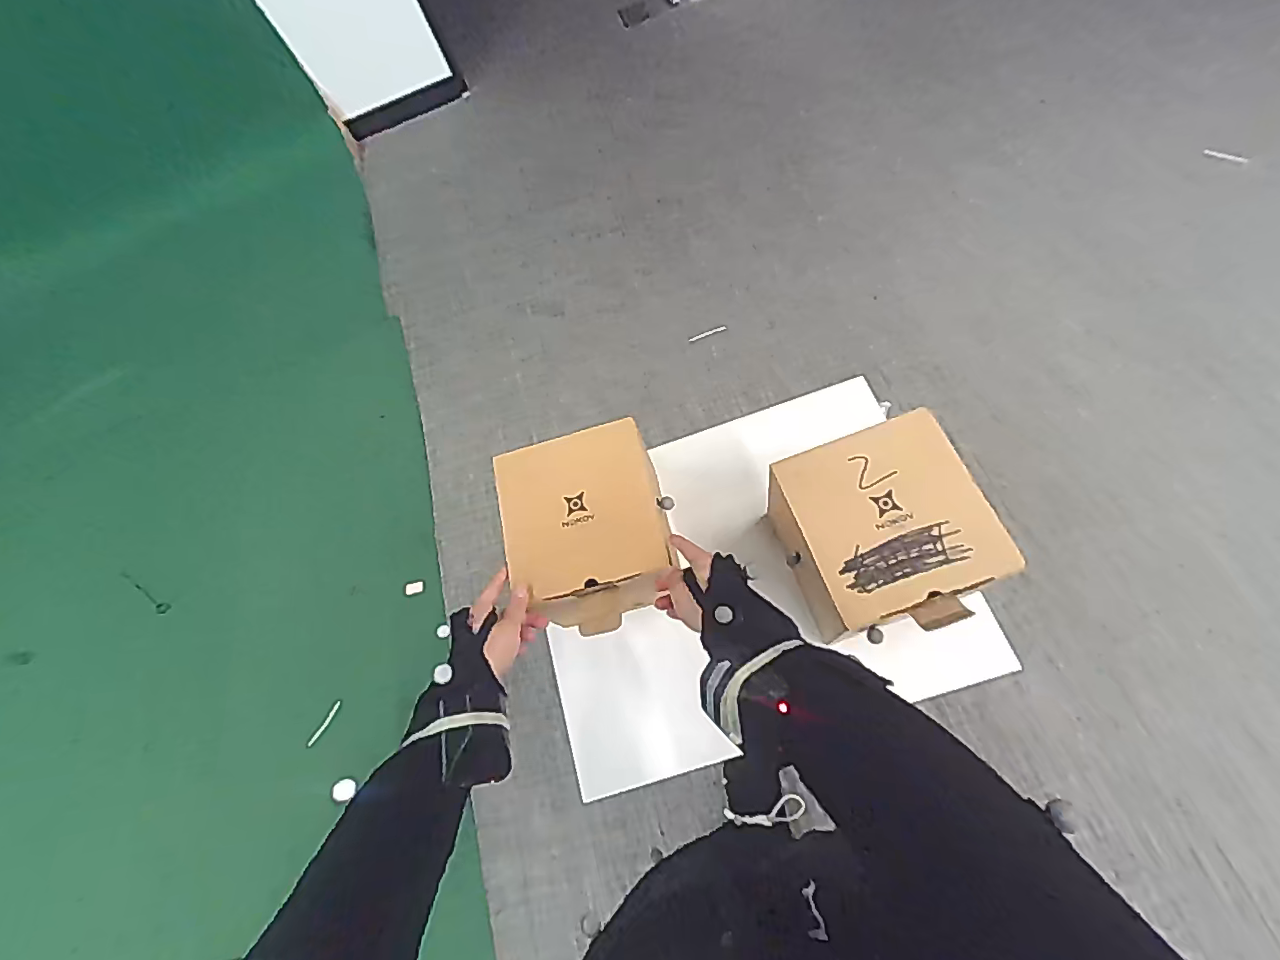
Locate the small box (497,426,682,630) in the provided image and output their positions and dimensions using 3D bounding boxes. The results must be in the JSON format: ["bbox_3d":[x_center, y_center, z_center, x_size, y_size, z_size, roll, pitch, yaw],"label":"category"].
[{"bbox_3d":[-0.052,0.065,0.638,0.168,0.176,0.179,-16,68,3],"label":"small box"}]
